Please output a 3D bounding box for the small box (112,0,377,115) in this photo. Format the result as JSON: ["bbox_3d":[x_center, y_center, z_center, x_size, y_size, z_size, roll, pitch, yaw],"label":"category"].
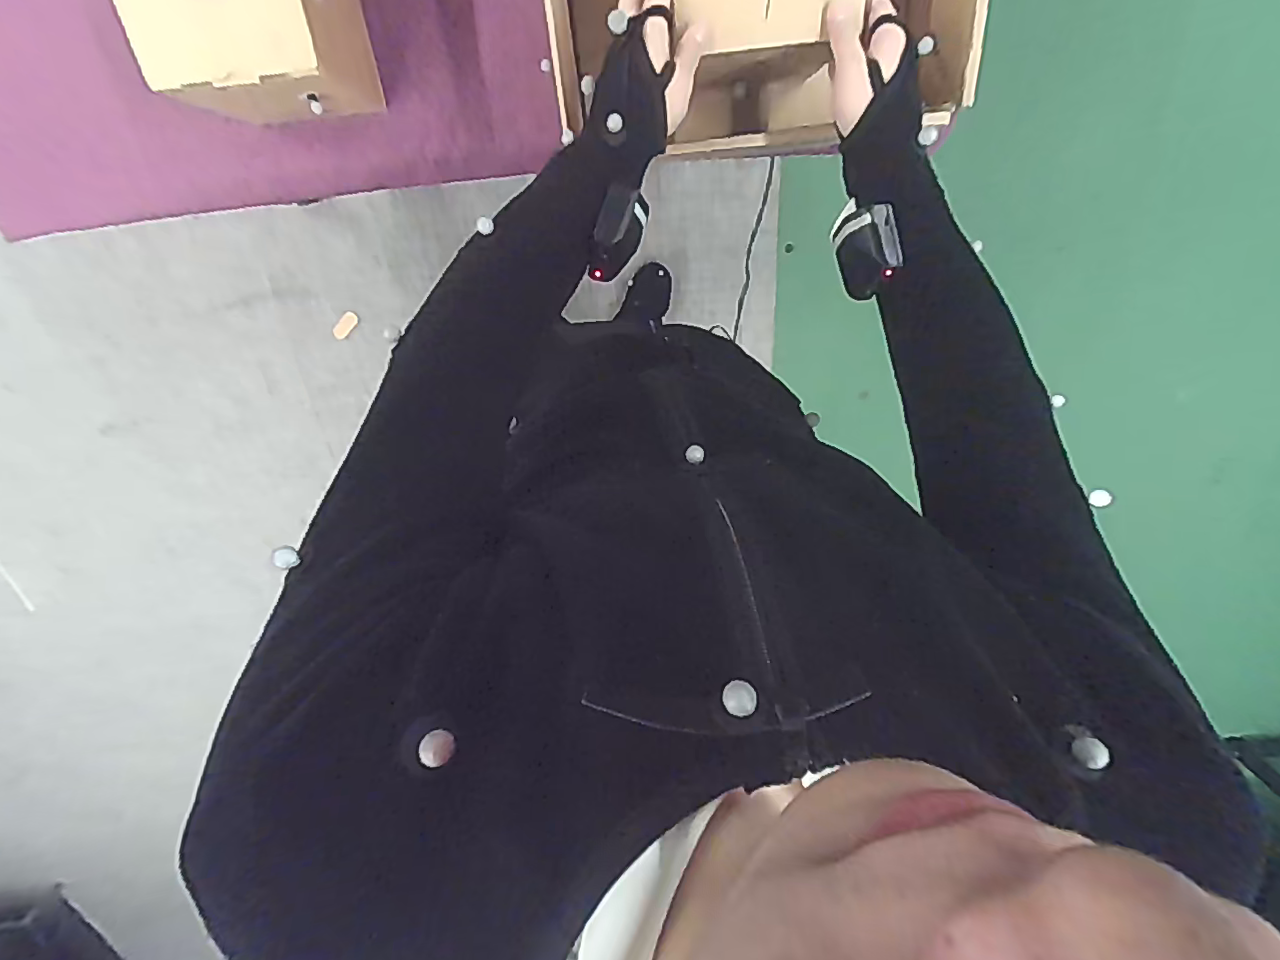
[{"bbox_3d":[-0.396,-0.488,0.547,0.168,0.176,0.179,-6,114,-1],"label":"small box"}]

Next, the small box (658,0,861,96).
[{"bbox_3d":[0.102,-0.492,0.512,0.168,0.176,0.179,-5,116,2],"label":"small box"}]
